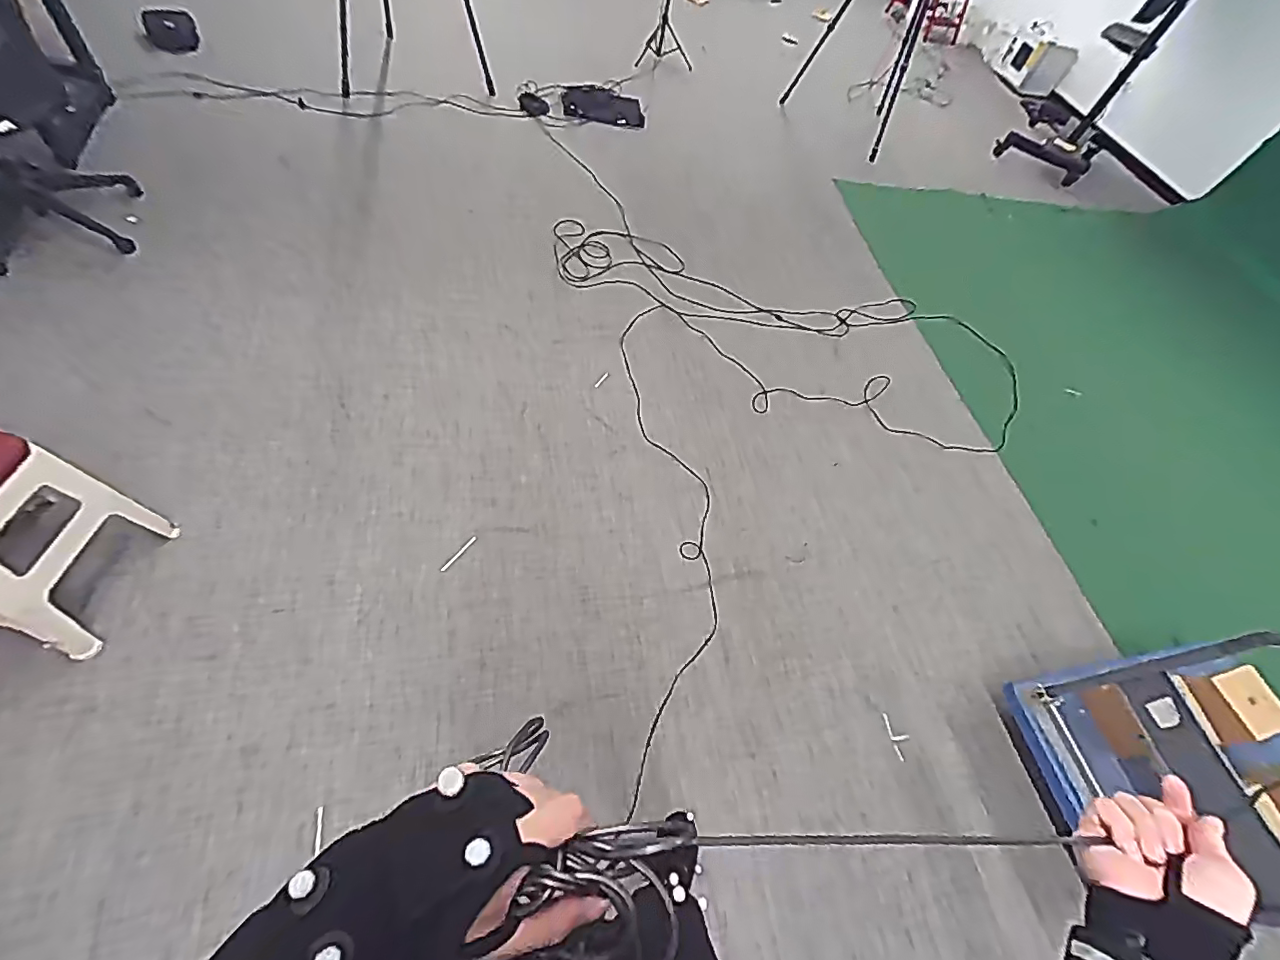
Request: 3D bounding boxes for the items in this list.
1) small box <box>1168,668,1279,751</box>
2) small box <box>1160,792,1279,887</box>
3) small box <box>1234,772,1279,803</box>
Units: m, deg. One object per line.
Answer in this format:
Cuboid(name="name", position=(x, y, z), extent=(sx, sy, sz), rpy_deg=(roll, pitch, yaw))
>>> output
Cuboid(name="small box", position=(1.662, 0.650, 1.522), extent=(0.179, 0.176, 0.168), rpy_deg=(-7, 60, -16))
Cuboid(name="small box", position=(1.465, 0.878, 1.332), extent=(0.179, 0.176, 0.168), rpy_deg=(-4, 58, -13))
Cuboid(name="small box", position=(1.727, 0.859, 1.397), extent=(0.179, 0.176, 0.168), rpy_deg=(-8, 58, -15))
